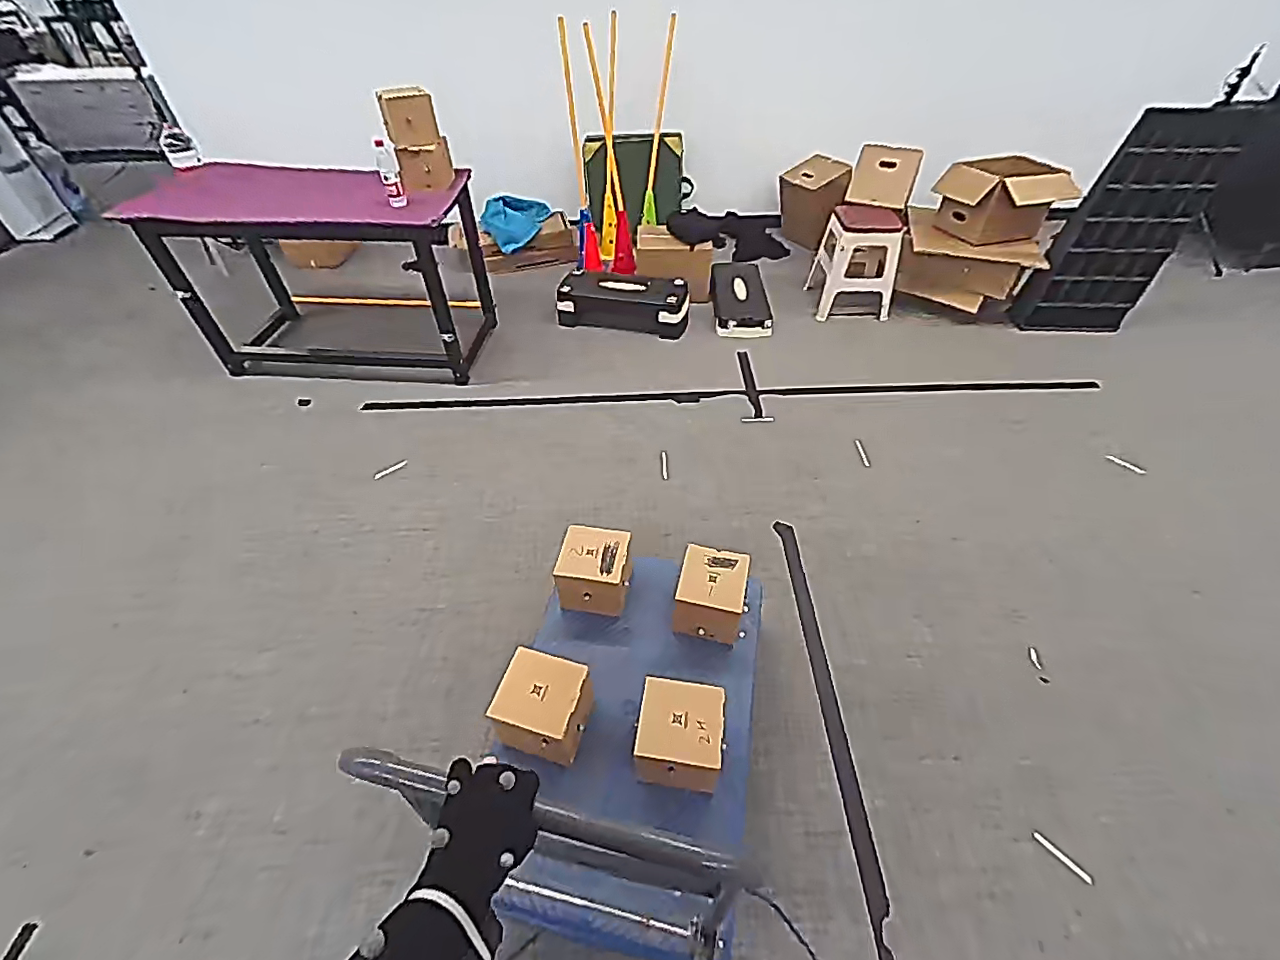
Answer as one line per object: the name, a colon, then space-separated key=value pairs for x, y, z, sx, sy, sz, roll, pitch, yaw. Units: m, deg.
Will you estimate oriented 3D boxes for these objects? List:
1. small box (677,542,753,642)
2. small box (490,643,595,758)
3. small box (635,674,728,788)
small box: x=0.194 y=0.293 z=1.417 sx=0.168 sy=0.176 sz=0.179 roll=11 pitch=49 yaw=11
small box: x=-0.211 y=0.502 z=1.224 sx=0.179 sy=0.176 sz=0.168 roll=13 pitch=48 yaw=11
small box: x=0.091 y=0.548 z=1.175 sx=0.179 sy=0.176 sz=0.168 roll=7 pitch=47 yaw=8
